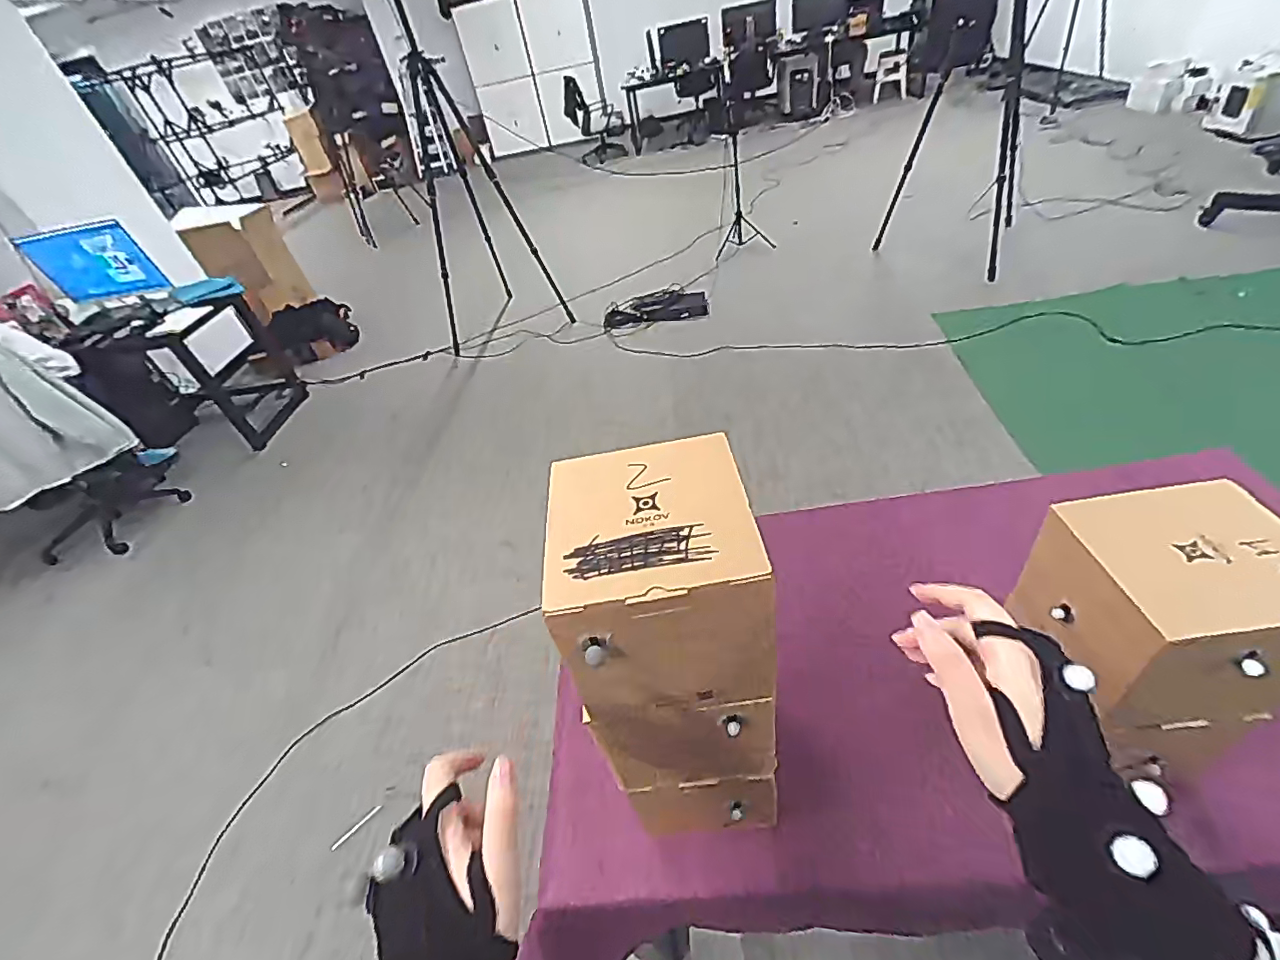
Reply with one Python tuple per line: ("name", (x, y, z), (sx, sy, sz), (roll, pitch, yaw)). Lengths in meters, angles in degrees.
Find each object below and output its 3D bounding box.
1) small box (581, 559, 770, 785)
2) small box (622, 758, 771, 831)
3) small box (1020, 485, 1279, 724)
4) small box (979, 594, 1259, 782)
("small box", (0.040, 0.214, 0.596), (0.179, 0.176, 0.168), (-9, 41, 3))
("small box", (0.072, 0.333, 0.701), (0.168, 0.176, 0.179), (-8, 40, 5))
("small box", (0.527, 0.131, 0.553), (0.179, 0.176, 0.168), (-8, 41, 6))
("small box", (0.554, 0.252, 0.662), (0.168, 0.176, 0.179), (-8, 42, 6))
